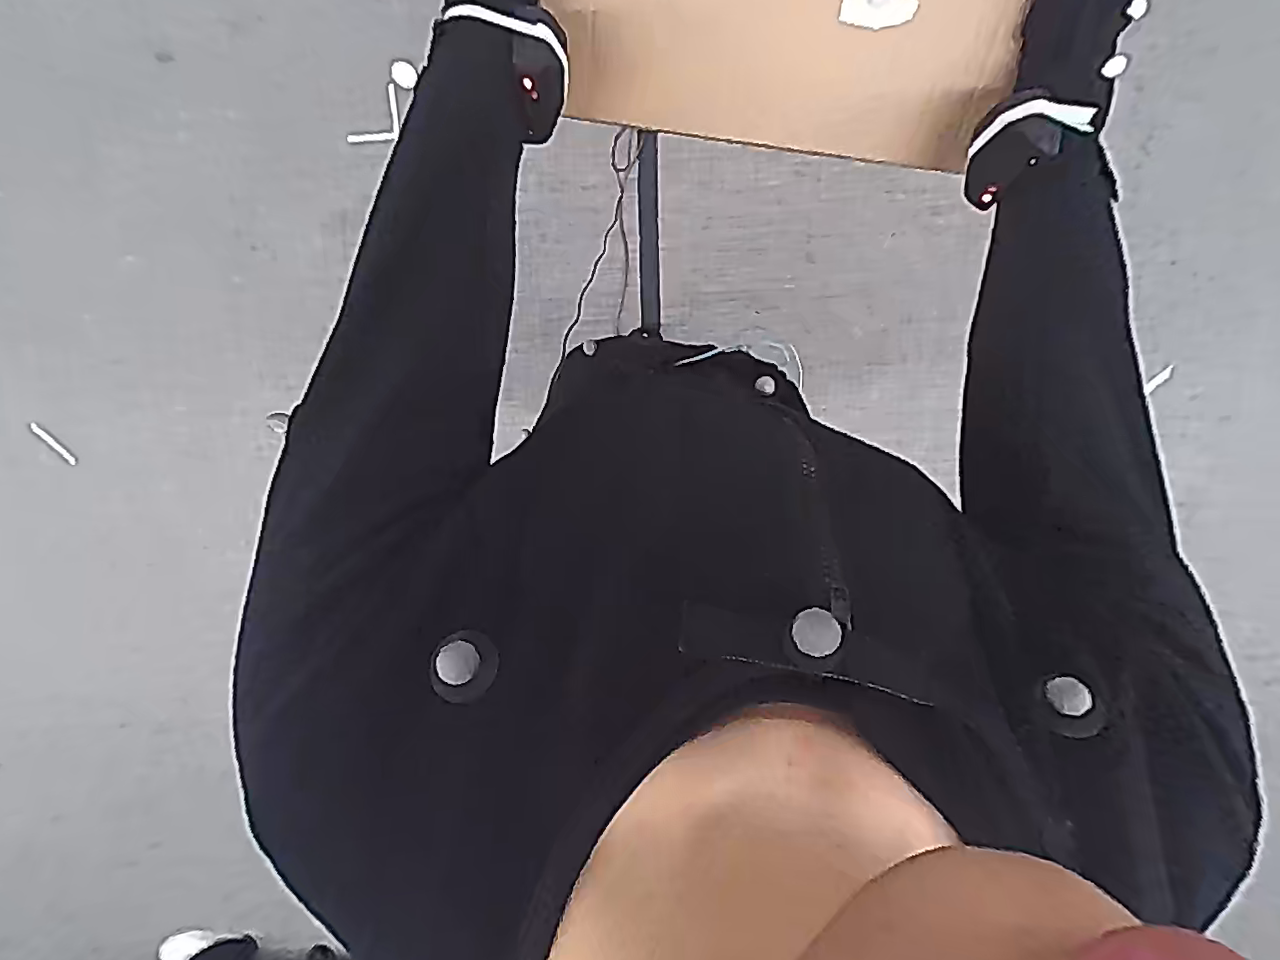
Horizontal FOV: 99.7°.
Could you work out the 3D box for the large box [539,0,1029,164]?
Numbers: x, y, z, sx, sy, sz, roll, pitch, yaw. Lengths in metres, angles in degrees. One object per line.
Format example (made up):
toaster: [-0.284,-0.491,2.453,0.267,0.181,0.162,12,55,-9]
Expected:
large box: [0.121,-0.517,0.533,0.408,0.320,0.320,5,124,-3]
